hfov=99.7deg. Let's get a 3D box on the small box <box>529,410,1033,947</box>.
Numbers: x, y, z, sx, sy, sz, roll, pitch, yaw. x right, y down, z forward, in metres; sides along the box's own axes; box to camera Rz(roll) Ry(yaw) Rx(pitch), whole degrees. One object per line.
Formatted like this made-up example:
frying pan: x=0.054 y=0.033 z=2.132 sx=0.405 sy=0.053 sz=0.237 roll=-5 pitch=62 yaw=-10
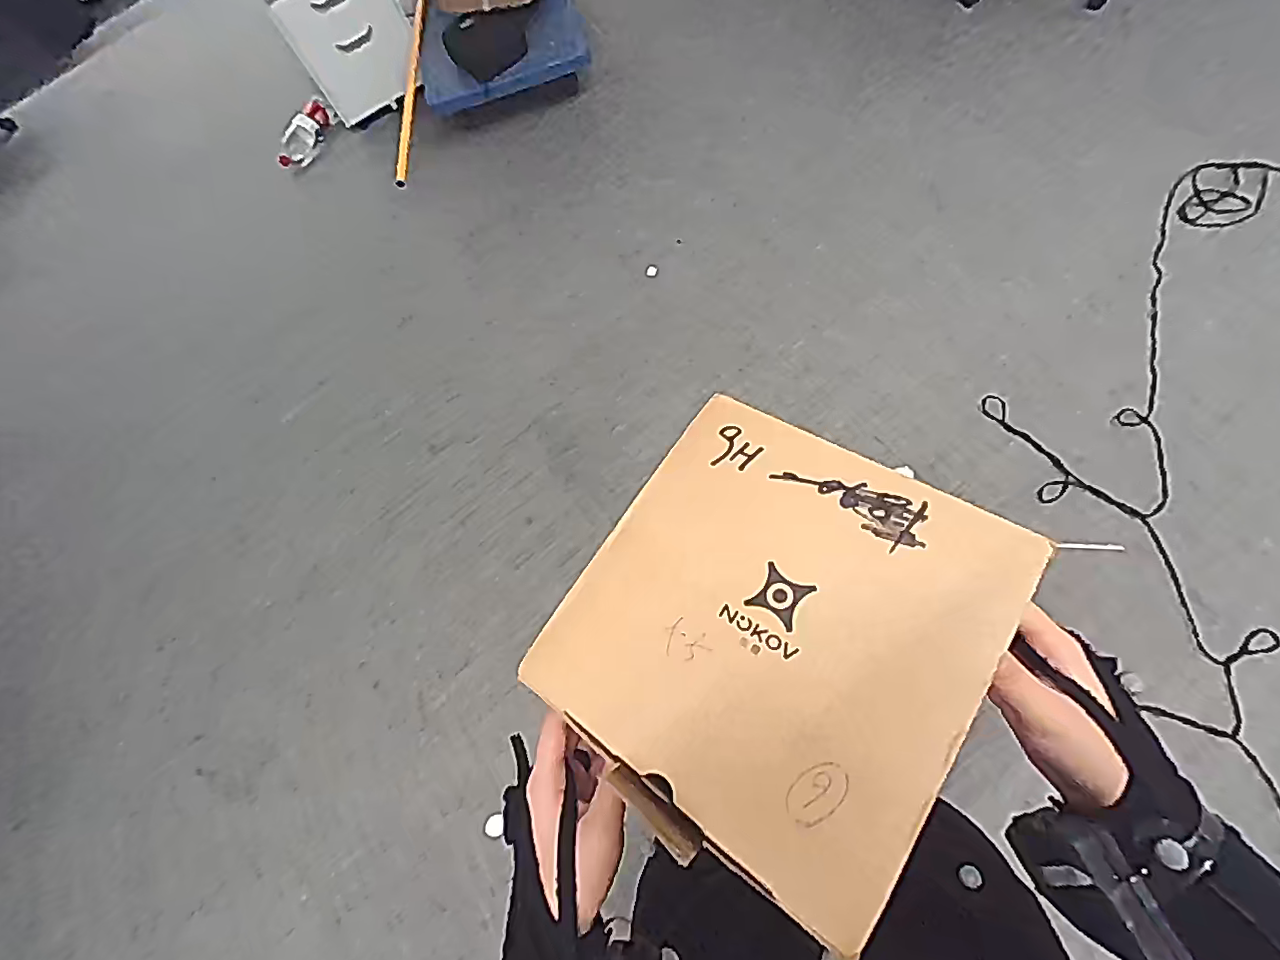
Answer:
small box: x=0.076 y=0.098 z=0.314 sx=0.168 sy=0.176 sz=0.179 roll=30 pitch=76 yaw=25
